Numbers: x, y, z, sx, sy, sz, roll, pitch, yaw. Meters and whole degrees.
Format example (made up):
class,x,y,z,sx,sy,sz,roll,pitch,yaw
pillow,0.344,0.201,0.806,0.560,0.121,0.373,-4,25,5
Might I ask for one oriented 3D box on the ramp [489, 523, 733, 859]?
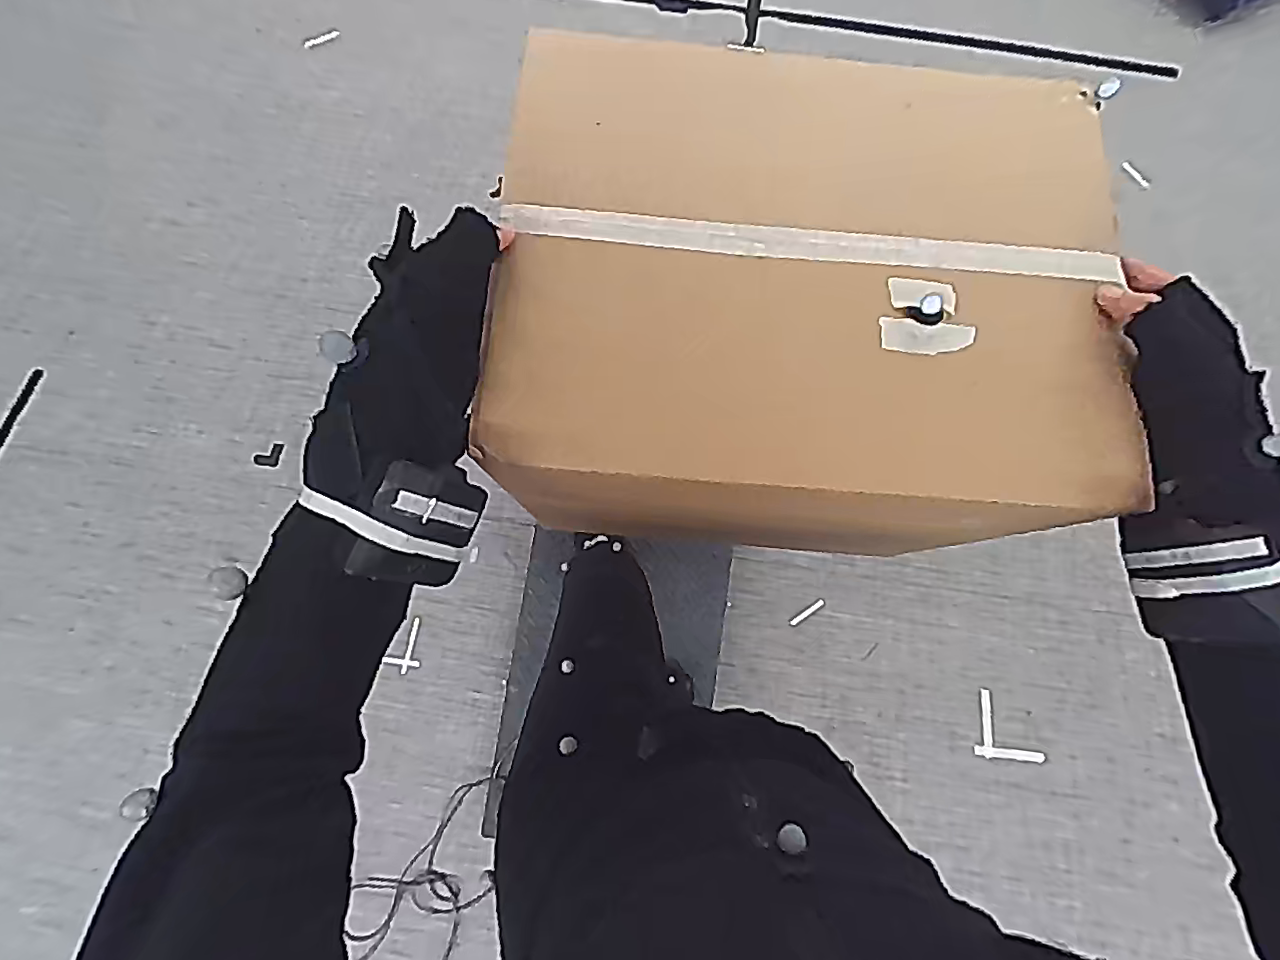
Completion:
class,x,y,z,sx,sy,sz,roll,pitch,yaw
ramp,-0.043,0.363,1.314,0.509,0.206,0.991,7,74,-1

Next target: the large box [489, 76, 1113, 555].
class,x,y,z,sx,sy,sz,roll,pitch,yaw
large box,0.102,-0.106,0.515,0.408,0.320,0.320,4,77,-2
